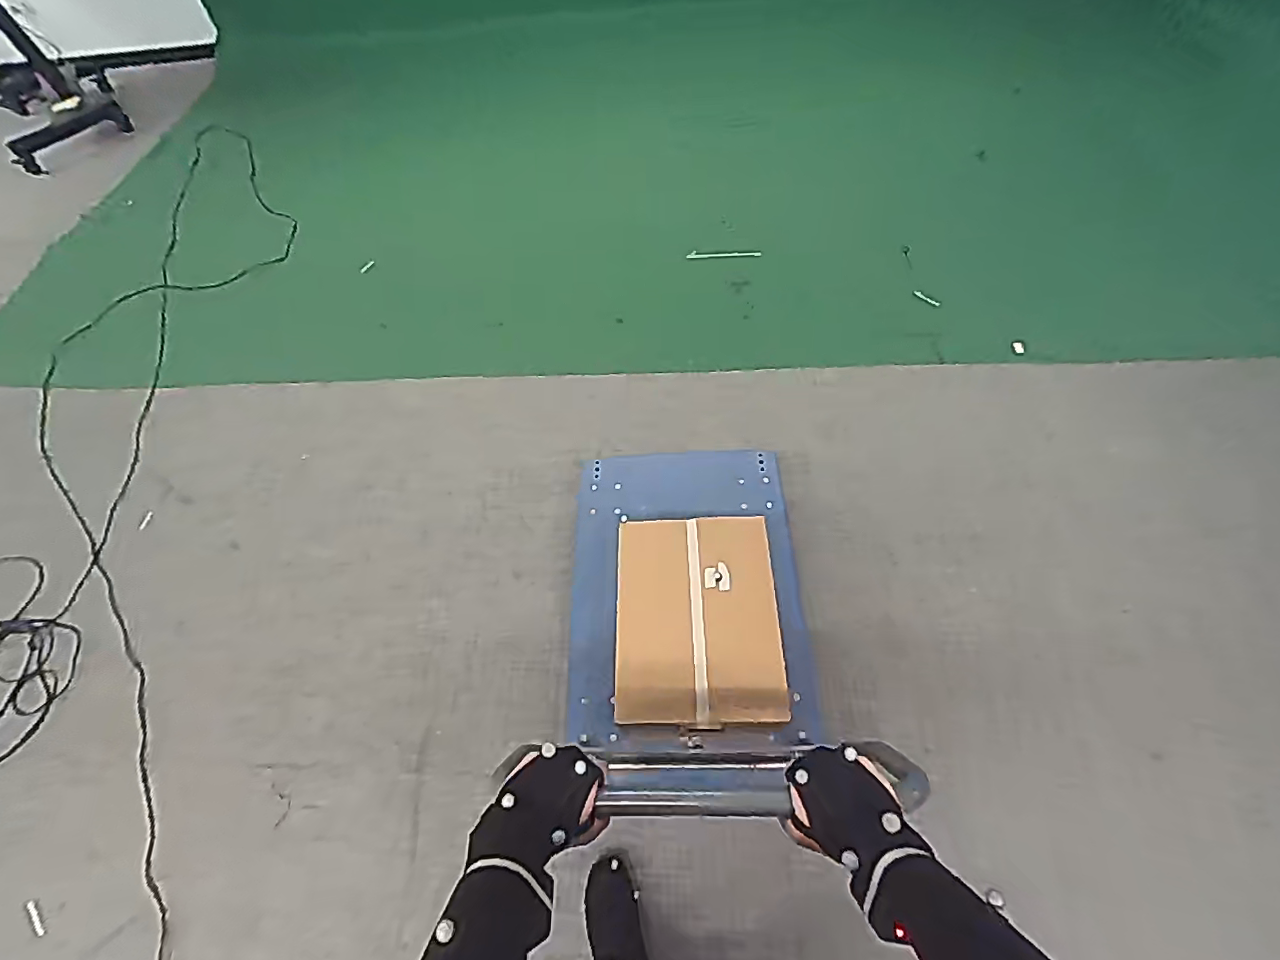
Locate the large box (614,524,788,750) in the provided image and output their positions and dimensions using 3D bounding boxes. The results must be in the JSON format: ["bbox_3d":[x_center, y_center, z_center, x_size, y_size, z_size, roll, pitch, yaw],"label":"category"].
[{"bbox_3d":[0.118,0.349,1.187,0.320,0.320,0.408,-2,57,3],"label":"large box"}]
